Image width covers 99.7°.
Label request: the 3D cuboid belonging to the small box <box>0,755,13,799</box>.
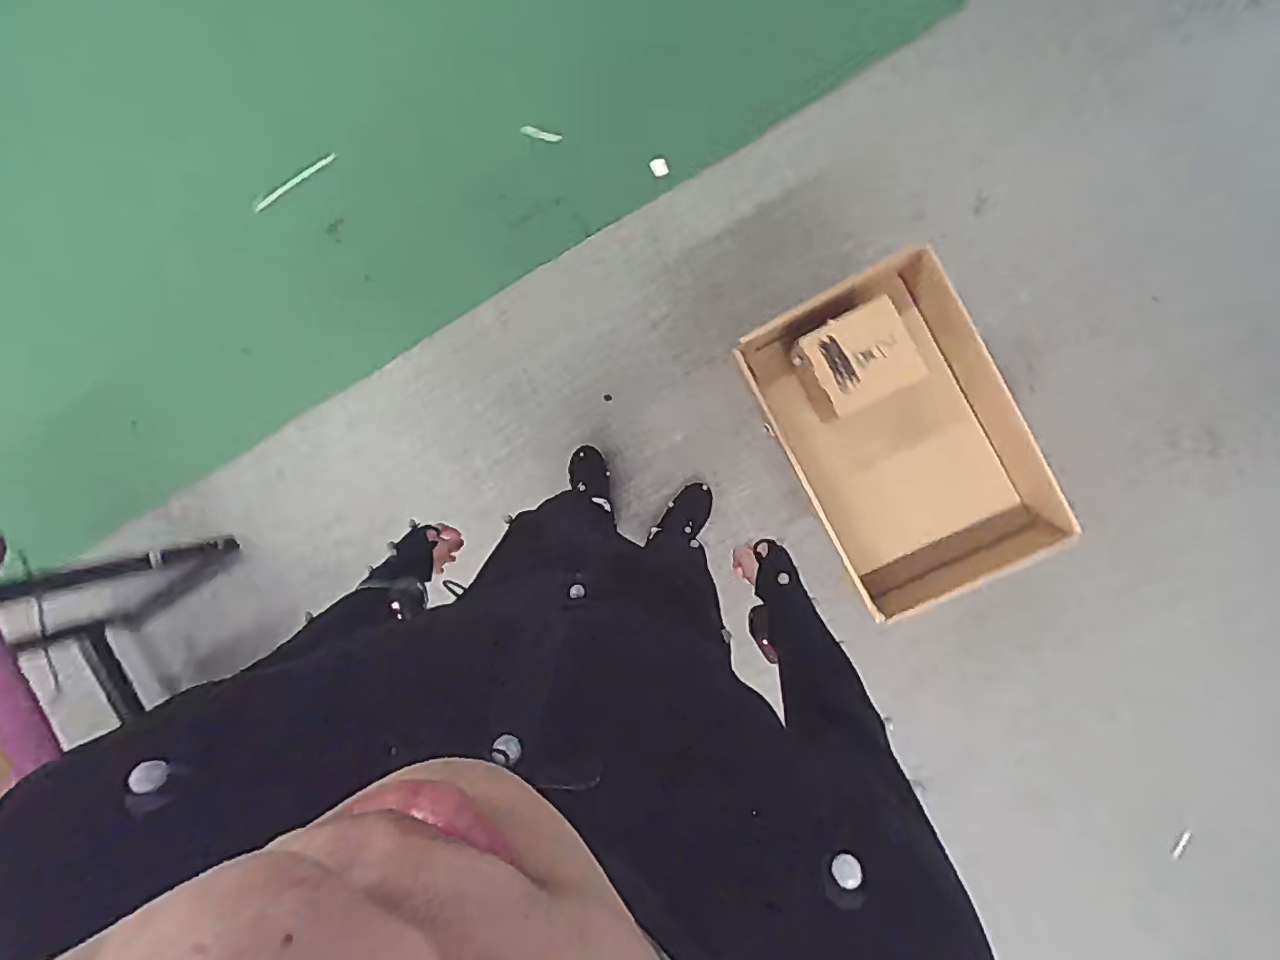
[{"bbox_3d":[-1.374,0.595,1.021,0.179,0.176,0.168,-27,90,9],"label":"small box"}]
